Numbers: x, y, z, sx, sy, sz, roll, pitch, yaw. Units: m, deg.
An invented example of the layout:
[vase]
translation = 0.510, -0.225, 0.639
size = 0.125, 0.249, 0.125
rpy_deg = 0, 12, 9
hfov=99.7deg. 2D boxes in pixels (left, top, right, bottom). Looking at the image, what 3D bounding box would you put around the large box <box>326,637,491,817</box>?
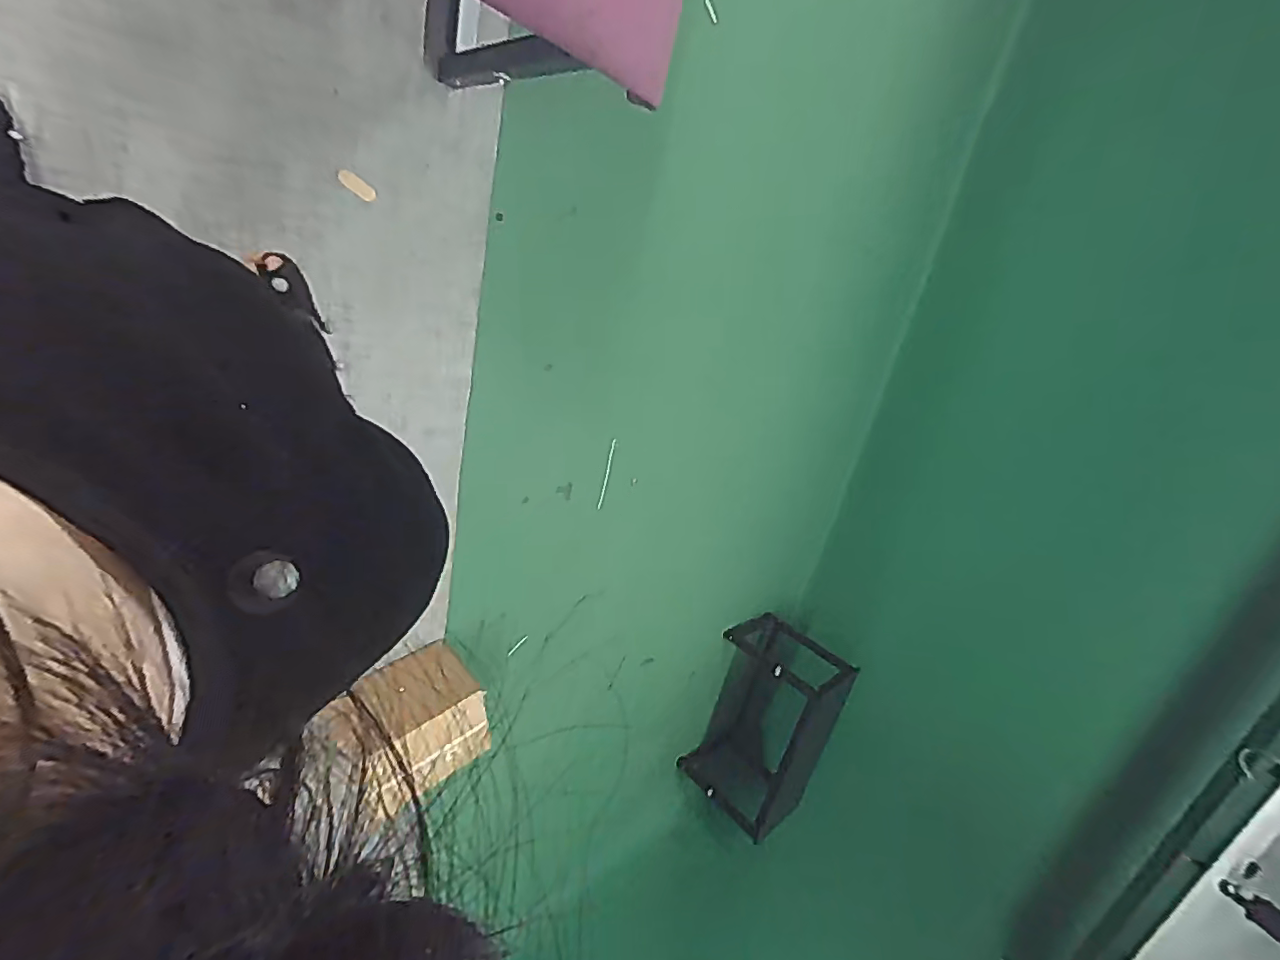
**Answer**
[large box]
translation = -0.780, 0.821, 1.849
size = 0.408, 0.320, 0.320
rpy_deg = -24, 130, -38
